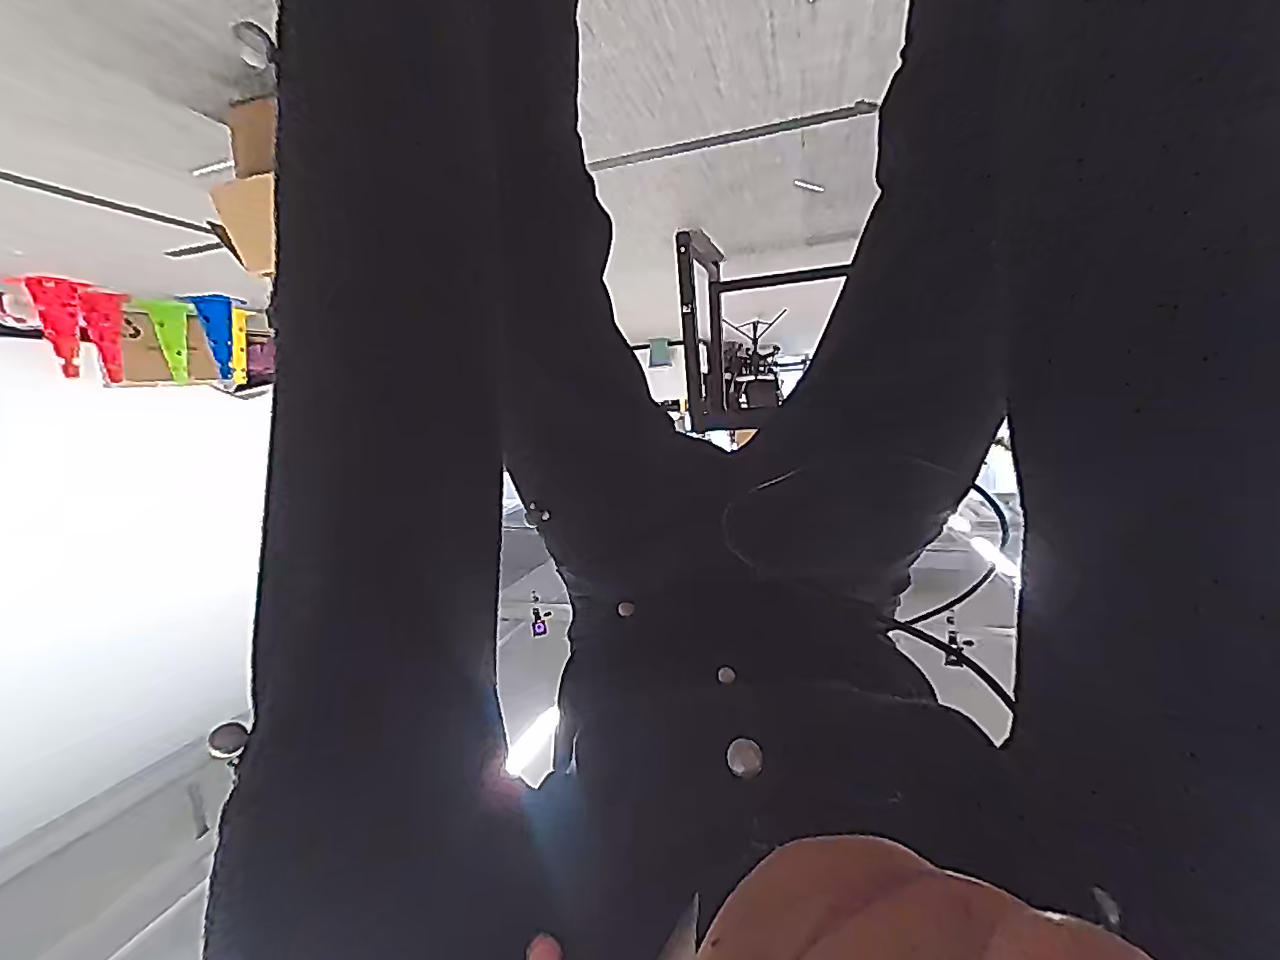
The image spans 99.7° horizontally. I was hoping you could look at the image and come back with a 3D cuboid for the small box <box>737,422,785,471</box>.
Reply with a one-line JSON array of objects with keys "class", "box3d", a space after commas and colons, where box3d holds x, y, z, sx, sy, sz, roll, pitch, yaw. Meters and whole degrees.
[{"class": "small box", "box3d": [0.468, -0.132, 2.092, 0.179, 0.176, 0.168, -4, -171, 16]}]
